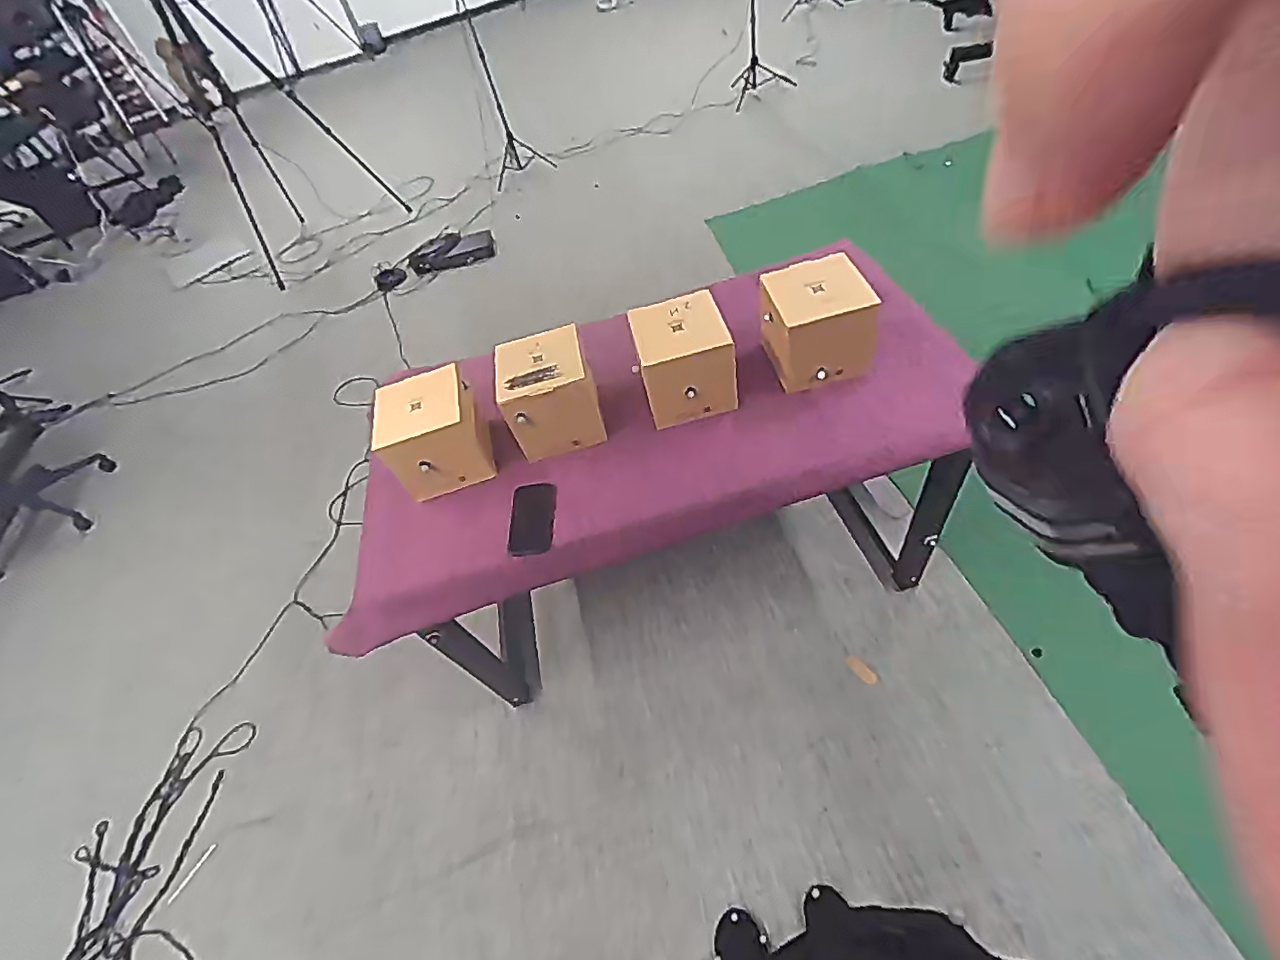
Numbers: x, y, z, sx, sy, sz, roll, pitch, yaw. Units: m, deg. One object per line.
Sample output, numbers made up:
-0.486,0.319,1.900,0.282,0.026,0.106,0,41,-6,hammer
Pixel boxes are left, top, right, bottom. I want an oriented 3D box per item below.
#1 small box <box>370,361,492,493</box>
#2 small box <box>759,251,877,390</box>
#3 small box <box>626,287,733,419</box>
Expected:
-0.401,-0.095,1.058,0.168,0.176,0.179,-19,50,-1,small box
0.331,-0.304,1.042,0.168,0.176,0.179,-14,51,4,small box
0.080,-0.237,1.050,0.168,0.176,0.179,-14,51,2,small box
